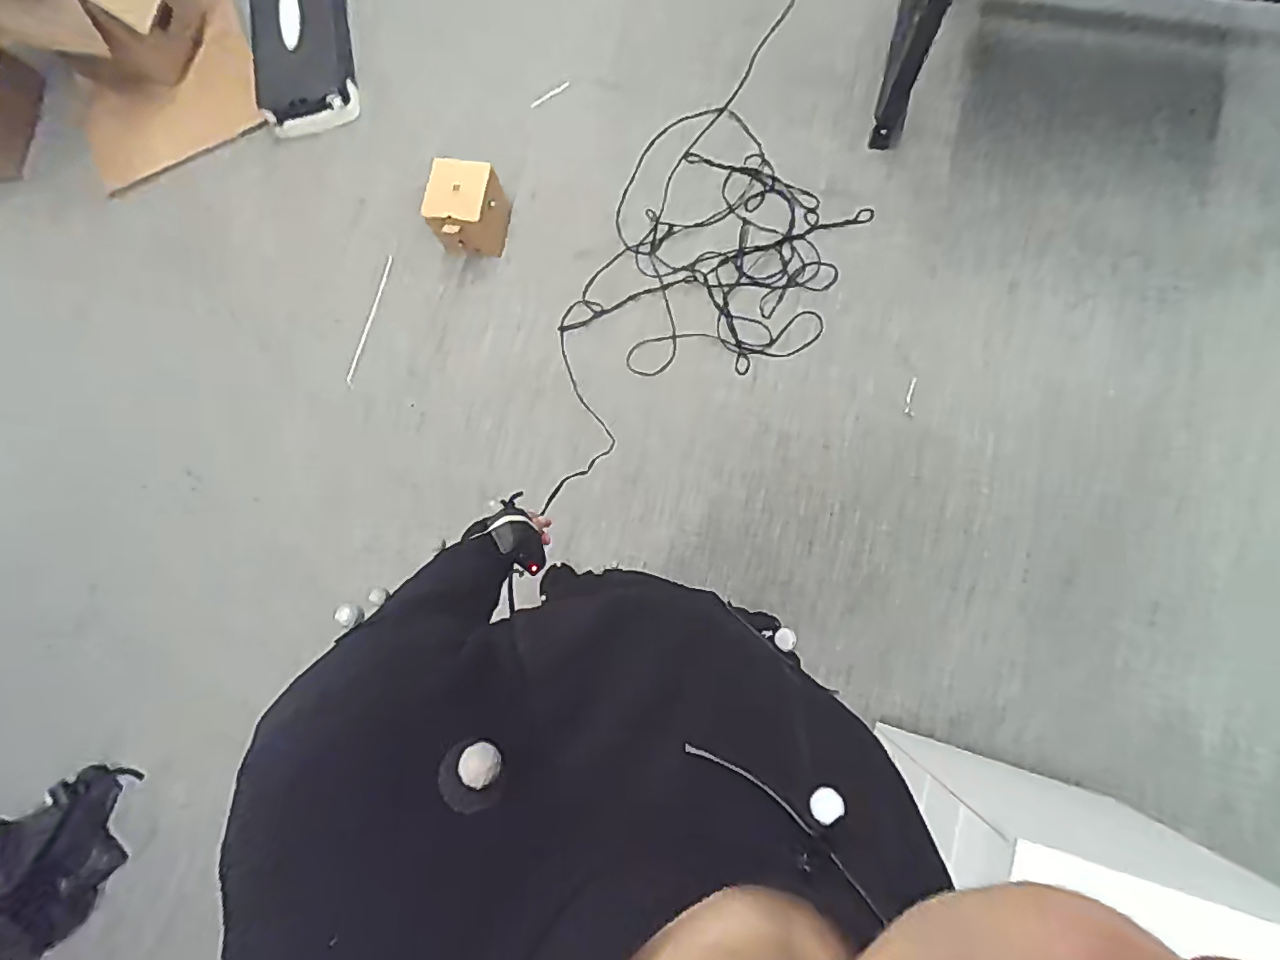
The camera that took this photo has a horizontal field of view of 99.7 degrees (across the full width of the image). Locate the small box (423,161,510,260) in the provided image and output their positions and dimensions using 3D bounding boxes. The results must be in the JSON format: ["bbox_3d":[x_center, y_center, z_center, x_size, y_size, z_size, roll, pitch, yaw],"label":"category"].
[{"bbox_3d":[-0.476,-0.752,1.518,0.168,0.176,0.179,9,82,6],"label":"small box"}]
